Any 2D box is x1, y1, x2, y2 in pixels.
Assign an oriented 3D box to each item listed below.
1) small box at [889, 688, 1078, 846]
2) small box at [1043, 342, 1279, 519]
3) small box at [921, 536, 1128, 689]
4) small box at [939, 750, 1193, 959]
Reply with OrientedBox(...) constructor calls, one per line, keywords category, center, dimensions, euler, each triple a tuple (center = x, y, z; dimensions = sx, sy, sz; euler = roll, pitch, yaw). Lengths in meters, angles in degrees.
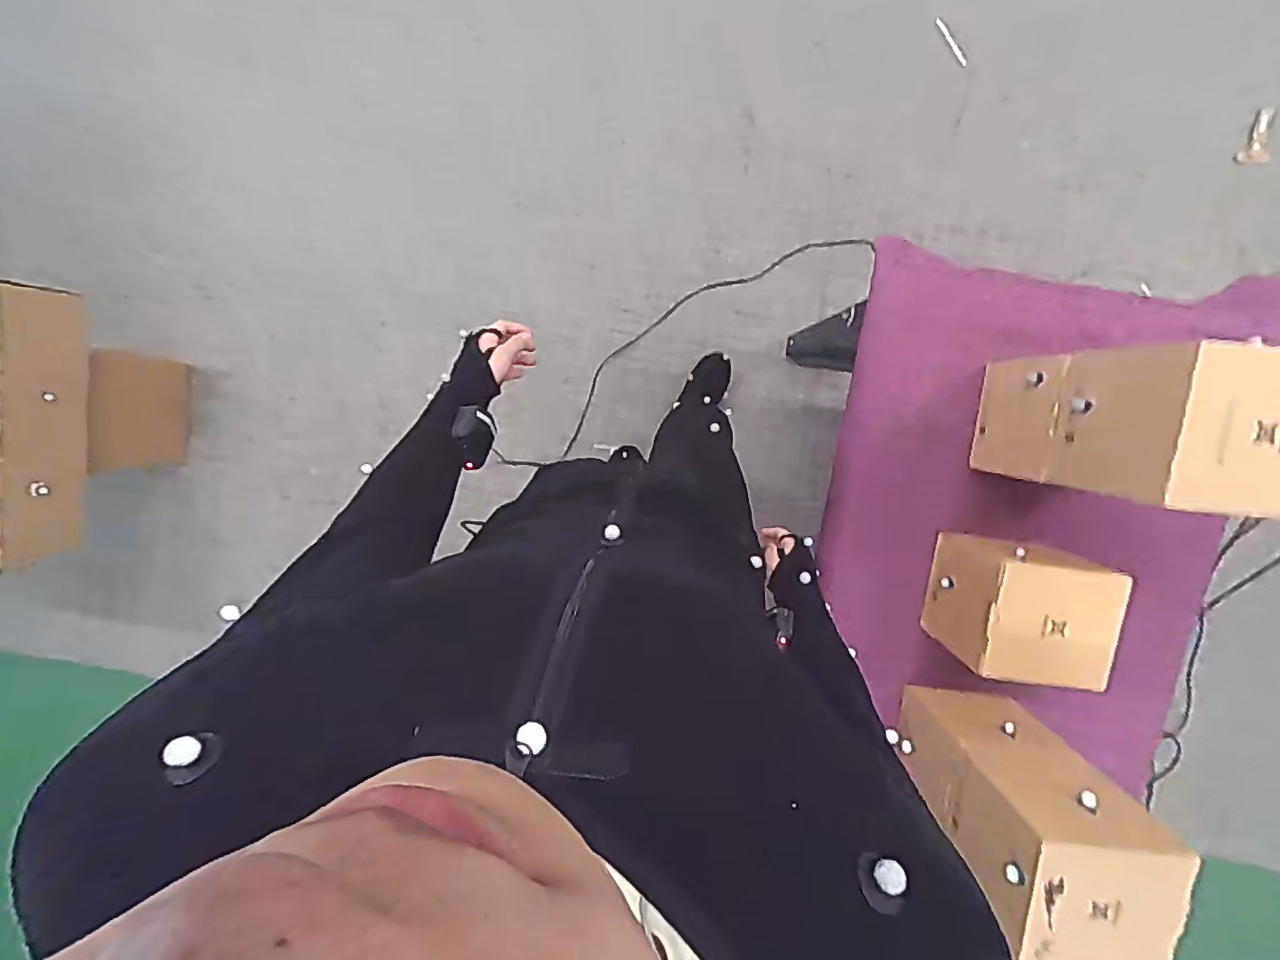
OrientedBox(category="small box", center=(0.527, 0.450, 0.855), dimensions=(0.179, 0.176, 0.168), euler=(6, 98, 1))
OrientedBox(category="small box", center=(0.617, -0.058, 0.614), dimensions=(0.179, 0.176, 0.168), euler=(6, 98, 0))
OrientedBox(category="small box", center=(0.564, 0.190, 0.819), dimensions=(0.179, 0.176, 0.168), euler=(7, 98, 1))
OrientedBox(category="small box", center=(0.525, 0.474, 0.693), dimensions=(0.179, 0.176, 0.168), euler=(5, 98, 0))
